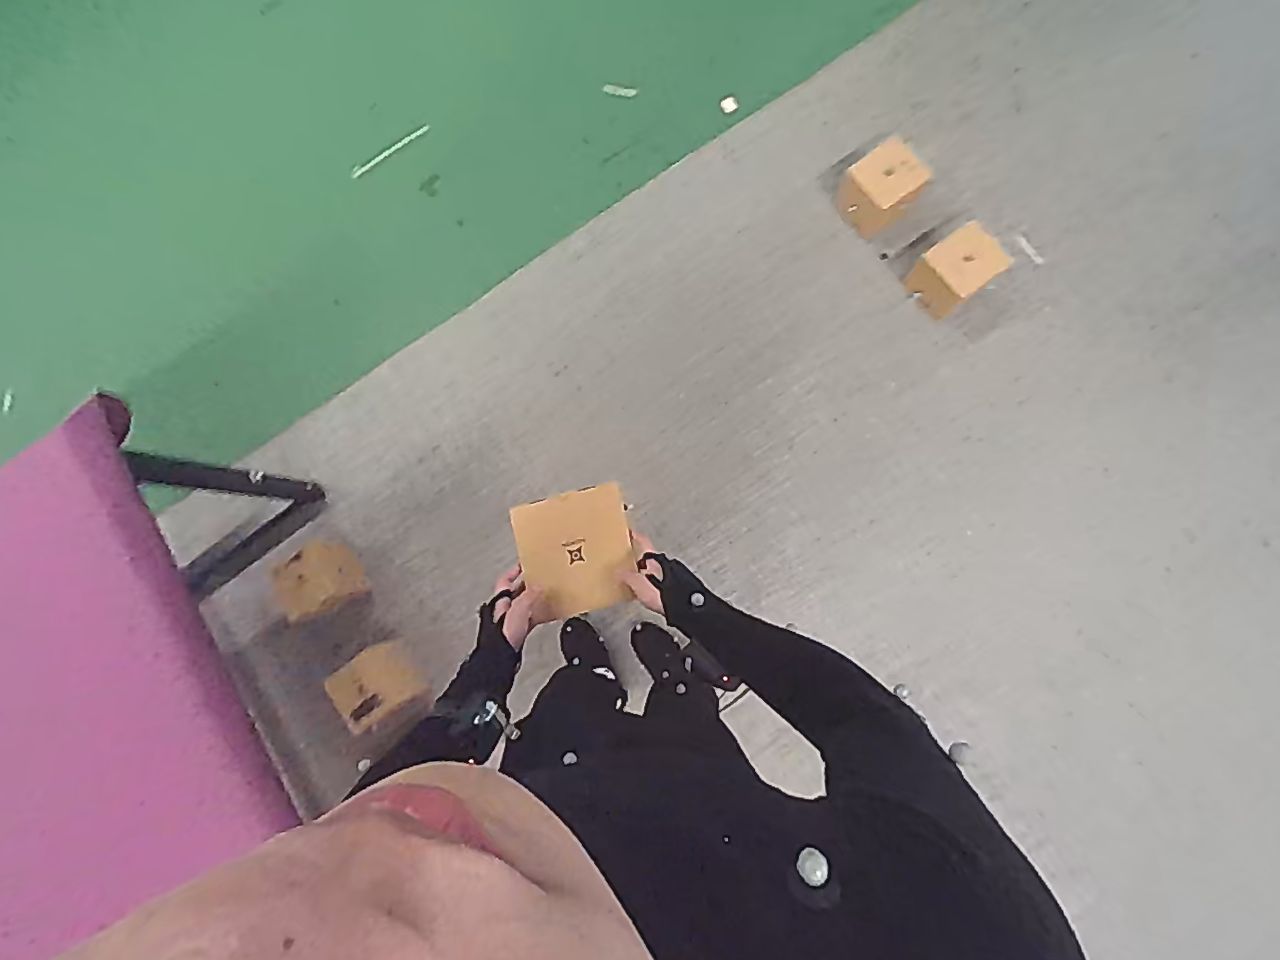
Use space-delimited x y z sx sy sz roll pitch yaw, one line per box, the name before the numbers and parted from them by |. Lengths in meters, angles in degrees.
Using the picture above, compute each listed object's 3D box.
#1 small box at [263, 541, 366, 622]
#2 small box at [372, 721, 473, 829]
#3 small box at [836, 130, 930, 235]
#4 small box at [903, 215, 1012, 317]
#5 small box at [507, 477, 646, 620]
small box | -0.957 0.295 1.607 0.168 0.176 0.179 -32 81 1
small box | -0.592 0.808 1.504 0.179 0.176 0.168 -40 81 0
small box | 0.701 -0.863 1.589 0.179 0.176 0.168 -35 81 0
small box | 0.890 -0.601 1.537 0.179 0.176 0.168 -36 80 1
small box | -0.089 0.105 0.844 0.168 0.176 0.179 -14 81 2
